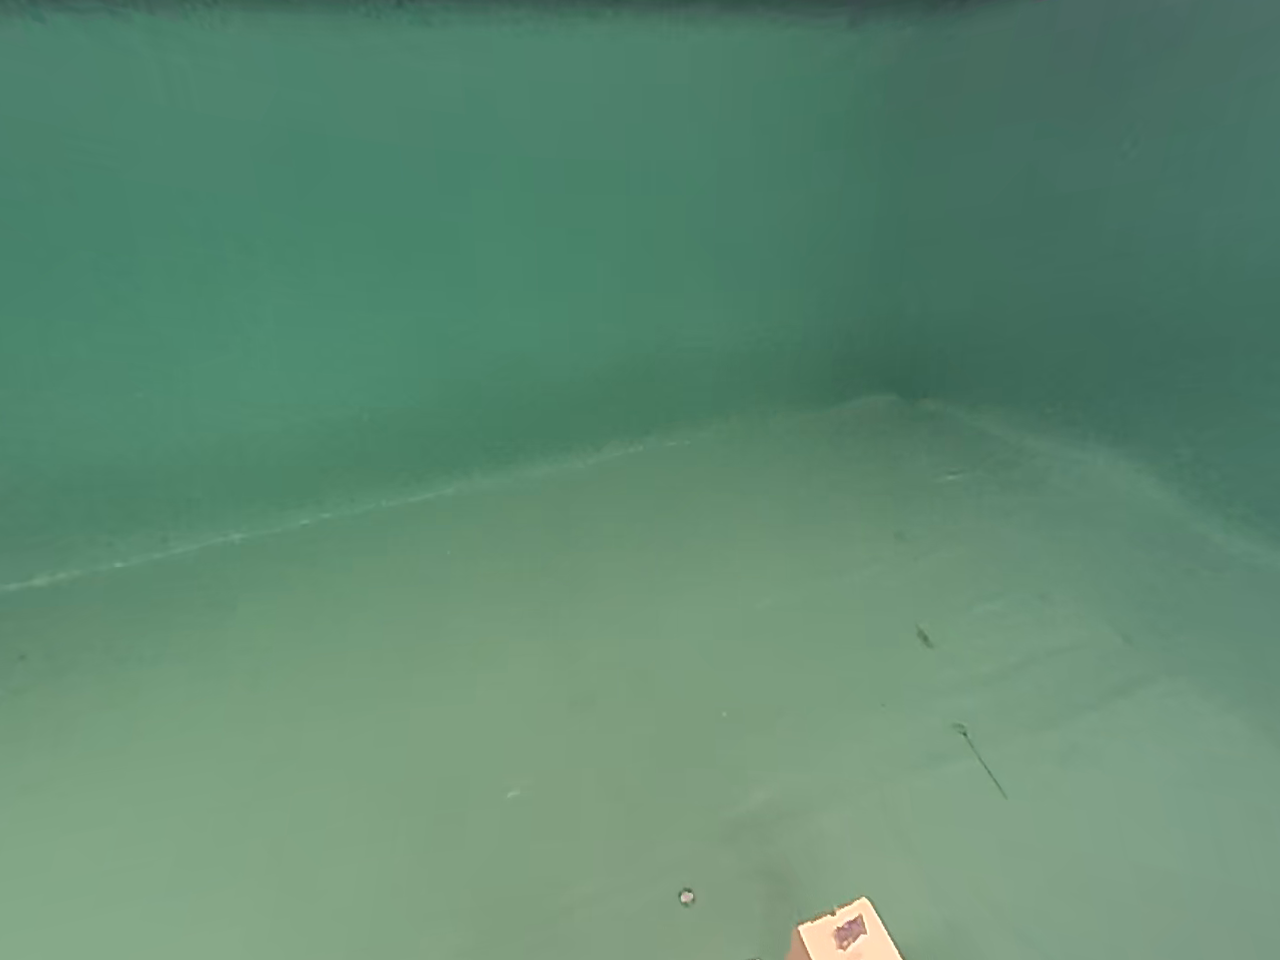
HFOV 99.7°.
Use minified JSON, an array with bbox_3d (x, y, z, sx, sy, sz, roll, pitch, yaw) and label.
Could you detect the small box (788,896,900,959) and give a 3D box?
[{"bbox_3d":[0.413,0.986,1.075,0.168,0.176,0.179,-12,35,-14],"label":"small box"}]
